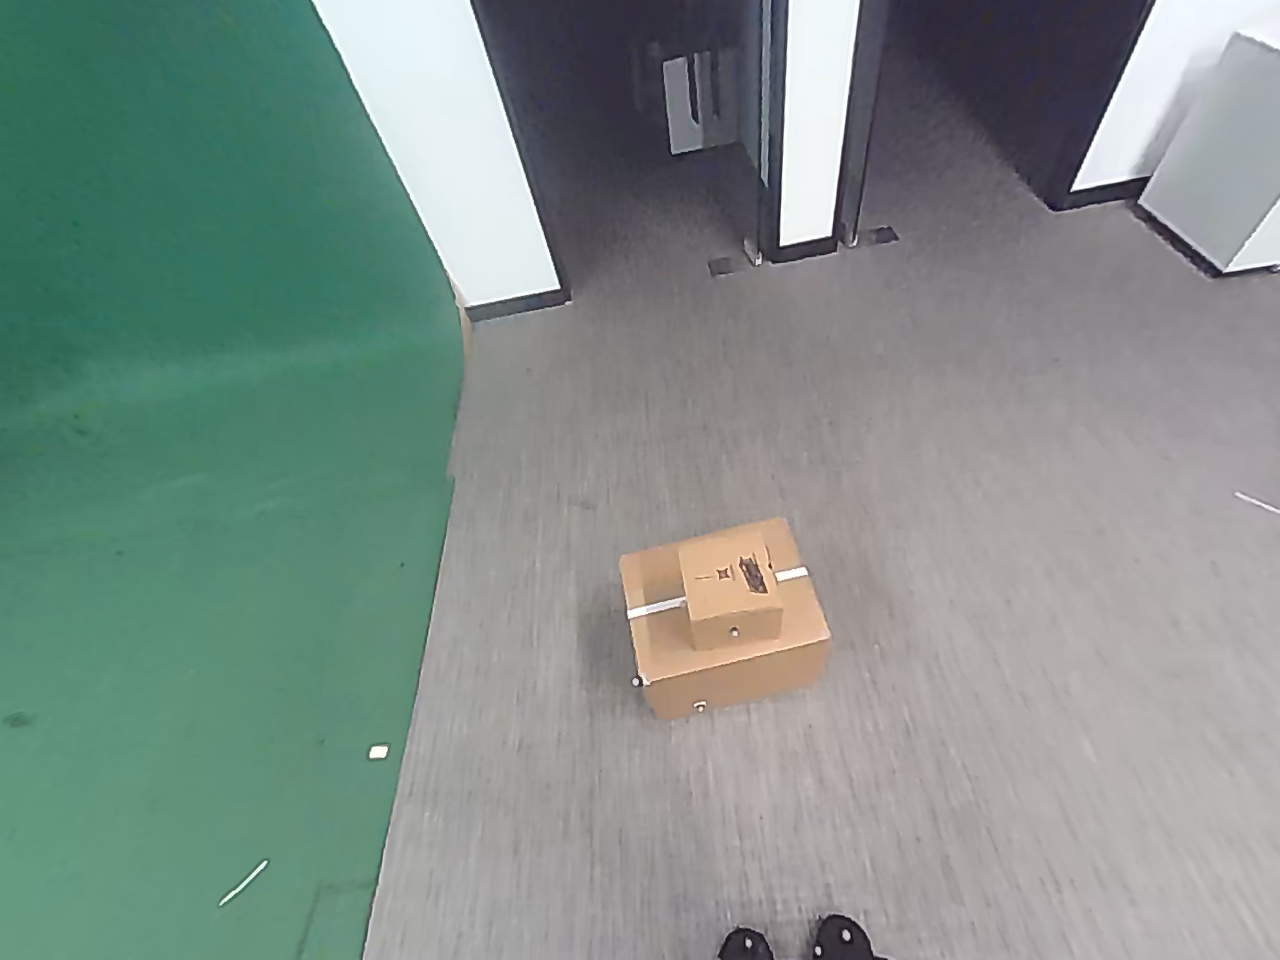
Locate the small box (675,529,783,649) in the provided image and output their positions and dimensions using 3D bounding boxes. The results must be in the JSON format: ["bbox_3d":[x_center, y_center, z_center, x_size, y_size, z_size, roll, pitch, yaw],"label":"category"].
[{"bbox_3d":[0.175,0.224,1.096,0.179,0.176,0.168,-12,53,1],"label":"small box"}]
